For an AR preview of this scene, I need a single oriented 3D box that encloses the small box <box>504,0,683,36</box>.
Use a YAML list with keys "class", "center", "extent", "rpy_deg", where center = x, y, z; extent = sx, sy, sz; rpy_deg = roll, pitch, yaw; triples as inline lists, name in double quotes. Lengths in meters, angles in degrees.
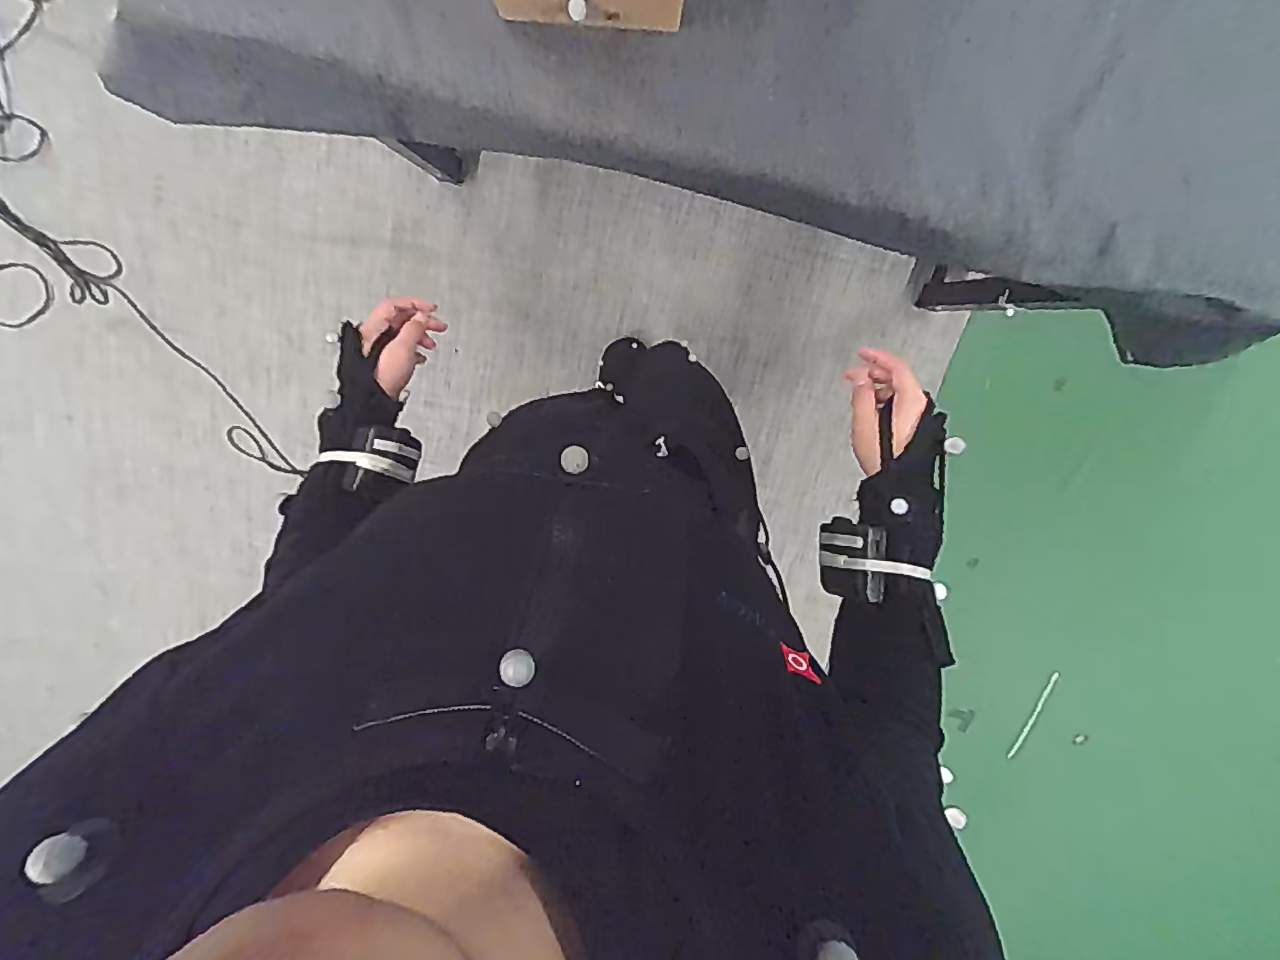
- class: "small box"
  center: [-0.039, -0.474, 0.393]
  extent: [0.168, 0.176, 0.179]
  rpy_deg: [3, 108, -1]
